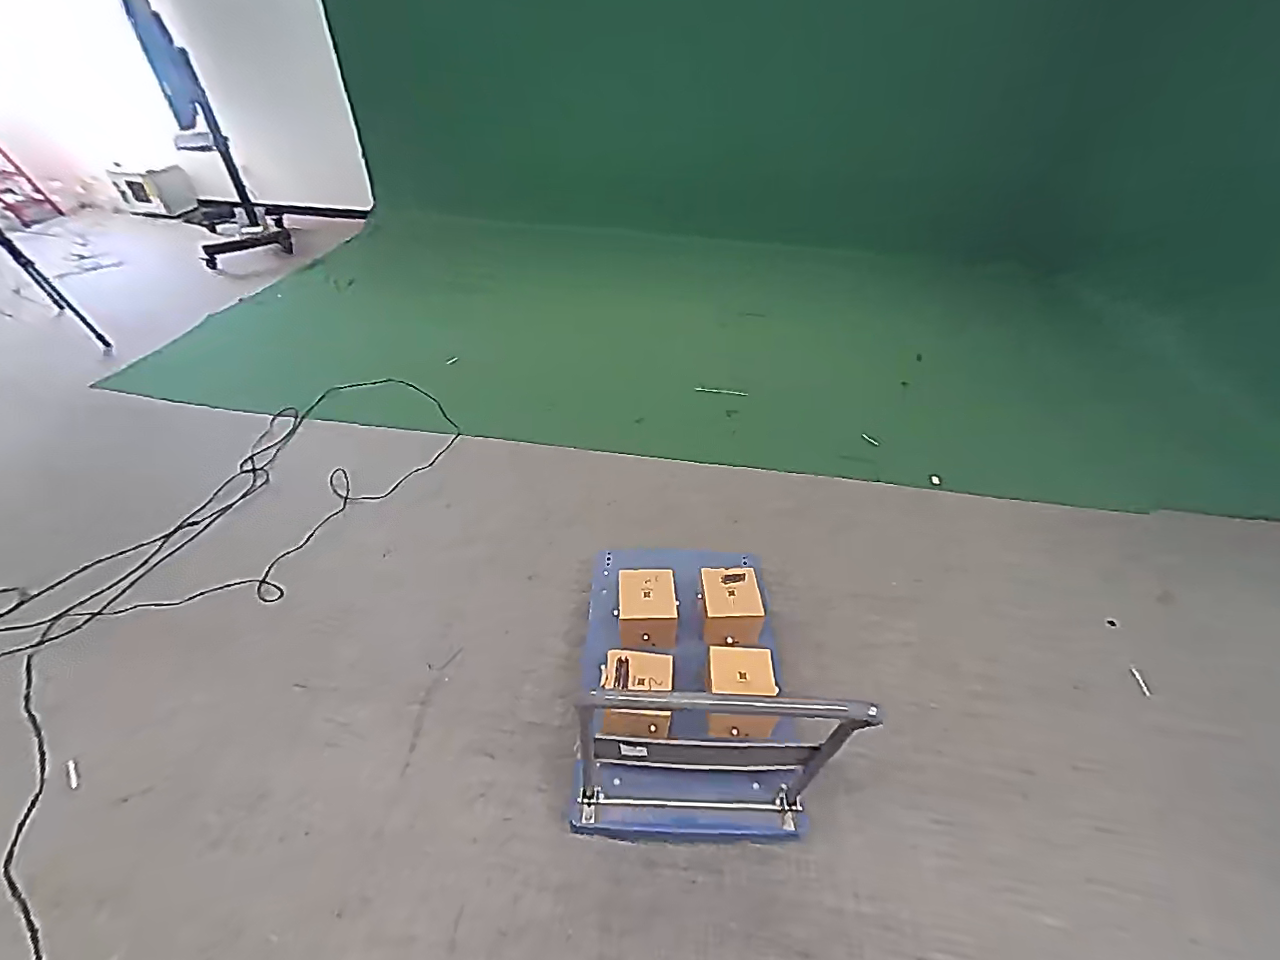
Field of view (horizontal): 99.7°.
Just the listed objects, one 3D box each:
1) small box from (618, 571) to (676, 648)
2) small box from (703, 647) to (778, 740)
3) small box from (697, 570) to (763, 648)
[{"bbox_3d":[0.018,0.401,1.656,0.168,0.176,0.179,0,42,-3],"label":"small box"},{"bbox_3d":[0.265,0.579,1.469,0.168,0.176,0.179,3,42,0],"label":"small box"},{"bbox_3d":[0.270,0.397,1.670,0.168,0.176,0.179,-1,43,-2],"label":"small box"}]
